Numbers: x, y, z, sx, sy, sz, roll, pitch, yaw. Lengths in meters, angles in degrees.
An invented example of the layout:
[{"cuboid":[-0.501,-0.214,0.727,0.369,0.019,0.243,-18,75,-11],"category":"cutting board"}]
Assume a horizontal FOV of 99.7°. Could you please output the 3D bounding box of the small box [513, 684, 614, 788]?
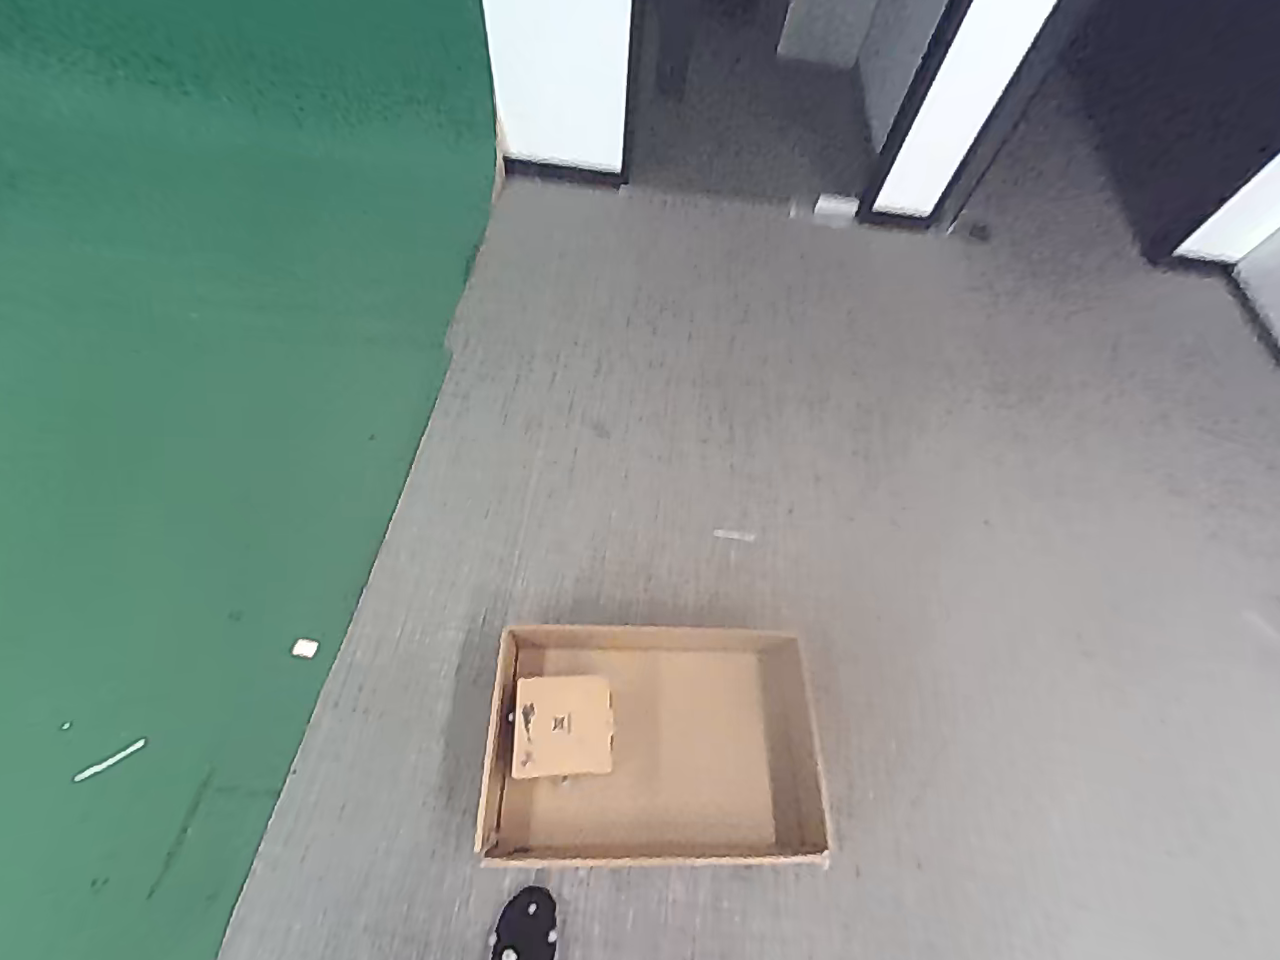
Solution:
[{"cuboid":[-0.145,0.496,1.044,0.179,0.176,0.168,1,58,-7],"category":"small box"}]
